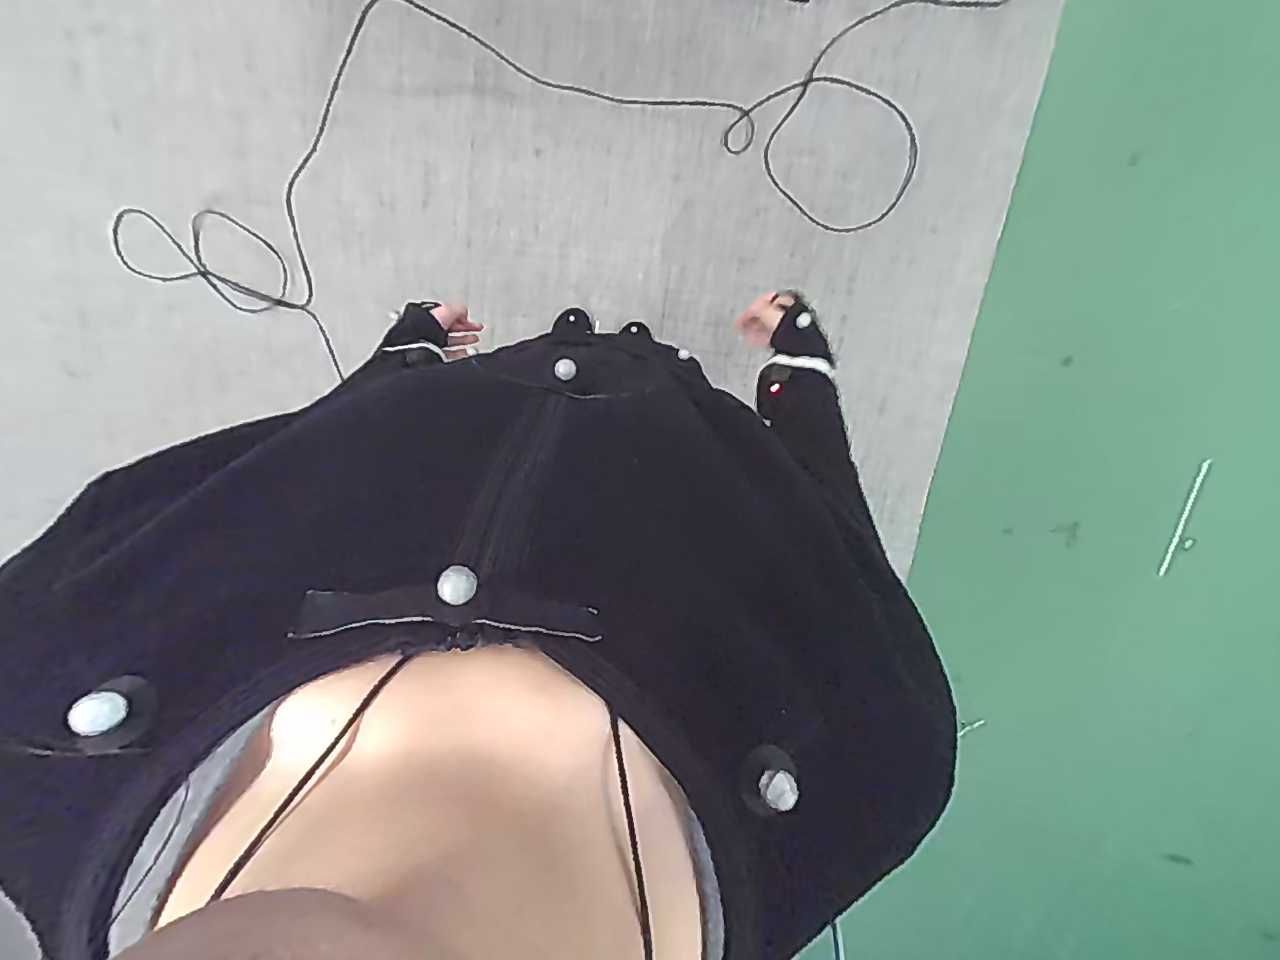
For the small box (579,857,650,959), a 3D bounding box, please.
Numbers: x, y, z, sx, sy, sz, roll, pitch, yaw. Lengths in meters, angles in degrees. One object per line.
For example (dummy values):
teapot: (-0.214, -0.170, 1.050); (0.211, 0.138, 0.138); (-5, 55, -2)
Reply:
small box: (-0.070, 1.220, 1.528); (0.168, 0.176, 0.179); (11, 104, -4)
